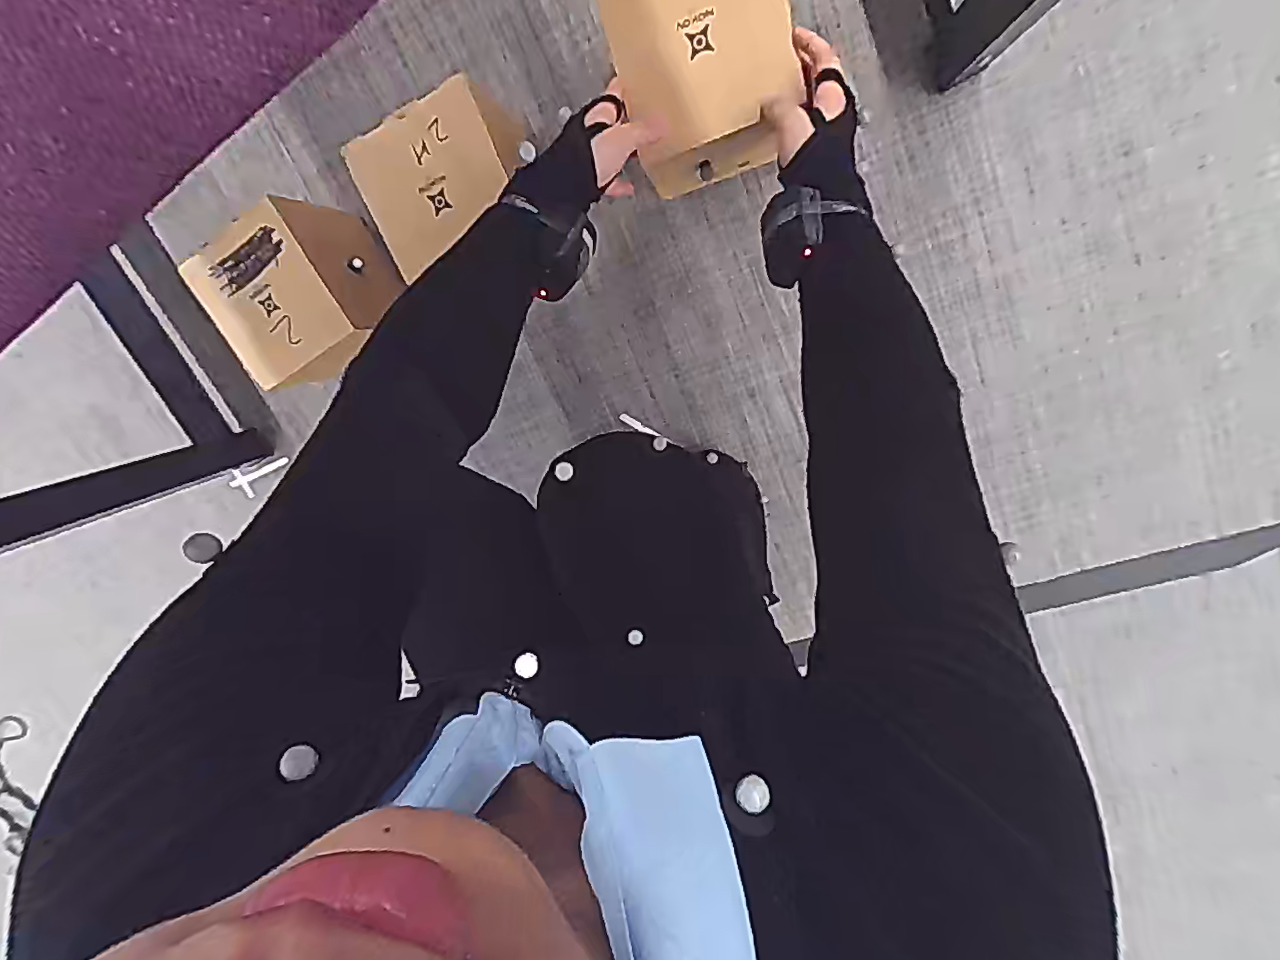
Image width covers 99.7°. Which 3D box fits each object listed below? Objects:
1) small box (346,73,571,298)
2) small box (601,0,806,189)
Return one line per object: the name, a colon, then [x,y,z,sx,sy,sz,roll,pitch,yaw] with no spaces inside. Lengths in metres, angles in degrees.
small box: [-0.205,-0.340,0.666,0.168,0.176,0.179,-20,103,14]
small box: [0.073,-0.434,0.576,0.168,0.176,0.179,-13,103,15]
